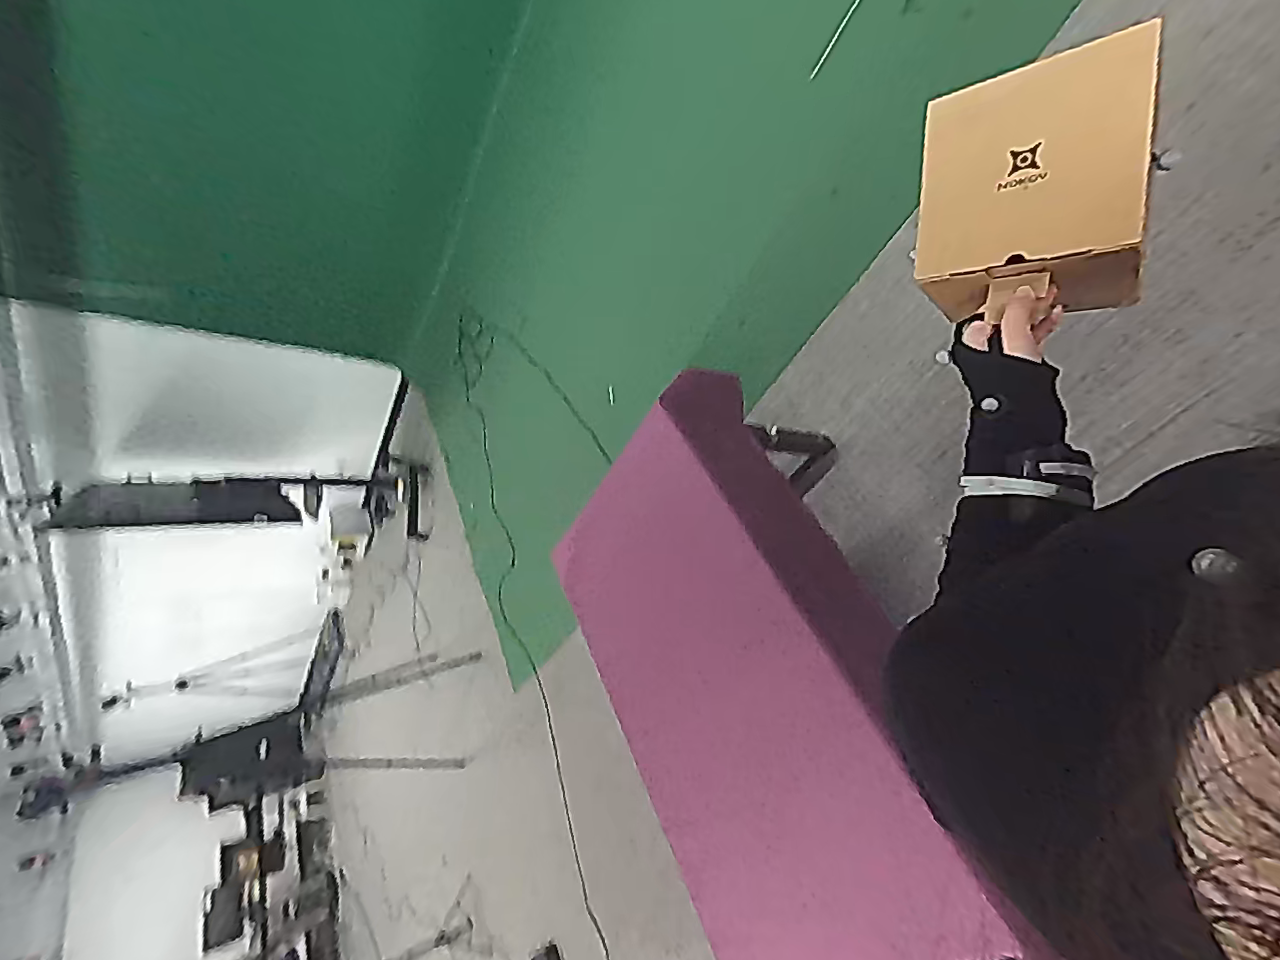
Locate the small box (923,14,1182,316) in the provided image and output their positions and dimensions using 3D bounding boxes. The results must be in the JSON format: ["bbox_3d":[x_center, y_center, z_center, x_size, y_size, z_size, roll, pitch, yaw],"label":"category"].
[{"bbox_3d":[0.393,-0.274,0.524,0.168,0.176,0.179,6,93,41],"label":"small box"}]
